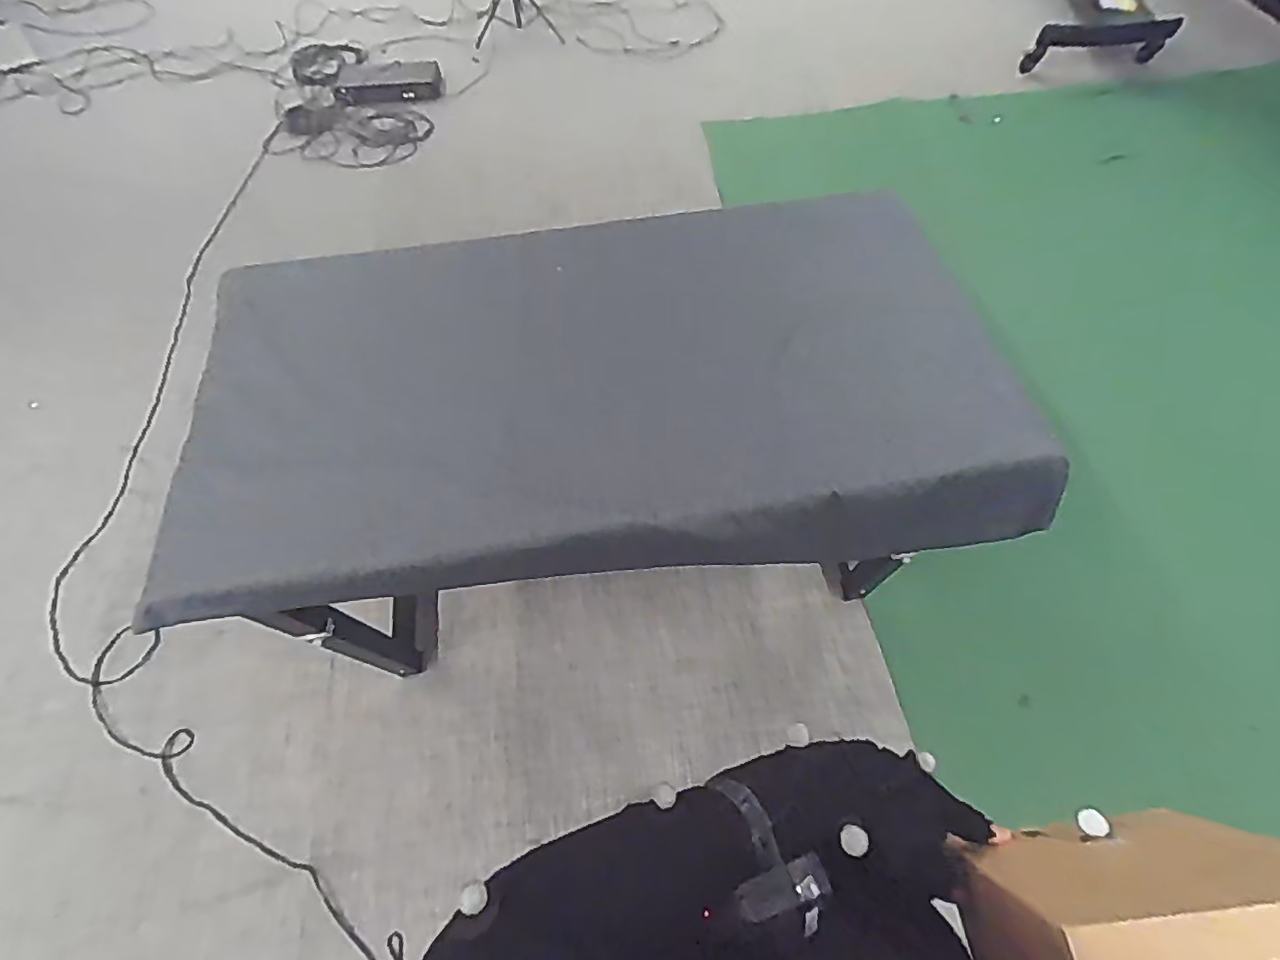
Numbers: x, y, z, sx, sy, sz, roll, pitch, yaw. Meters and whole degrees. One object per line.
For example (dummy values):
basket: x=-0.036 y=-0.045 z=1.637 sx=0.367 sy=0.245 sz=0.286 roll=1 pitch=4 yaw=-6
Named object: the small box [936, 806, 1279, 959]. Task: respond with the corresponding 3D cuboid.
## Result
small box: x=0.303 y=0.309 z=0.307 sx=0.168 sy=0.176 sz=0.179 roll=-10 pitch=68 yaw=5
